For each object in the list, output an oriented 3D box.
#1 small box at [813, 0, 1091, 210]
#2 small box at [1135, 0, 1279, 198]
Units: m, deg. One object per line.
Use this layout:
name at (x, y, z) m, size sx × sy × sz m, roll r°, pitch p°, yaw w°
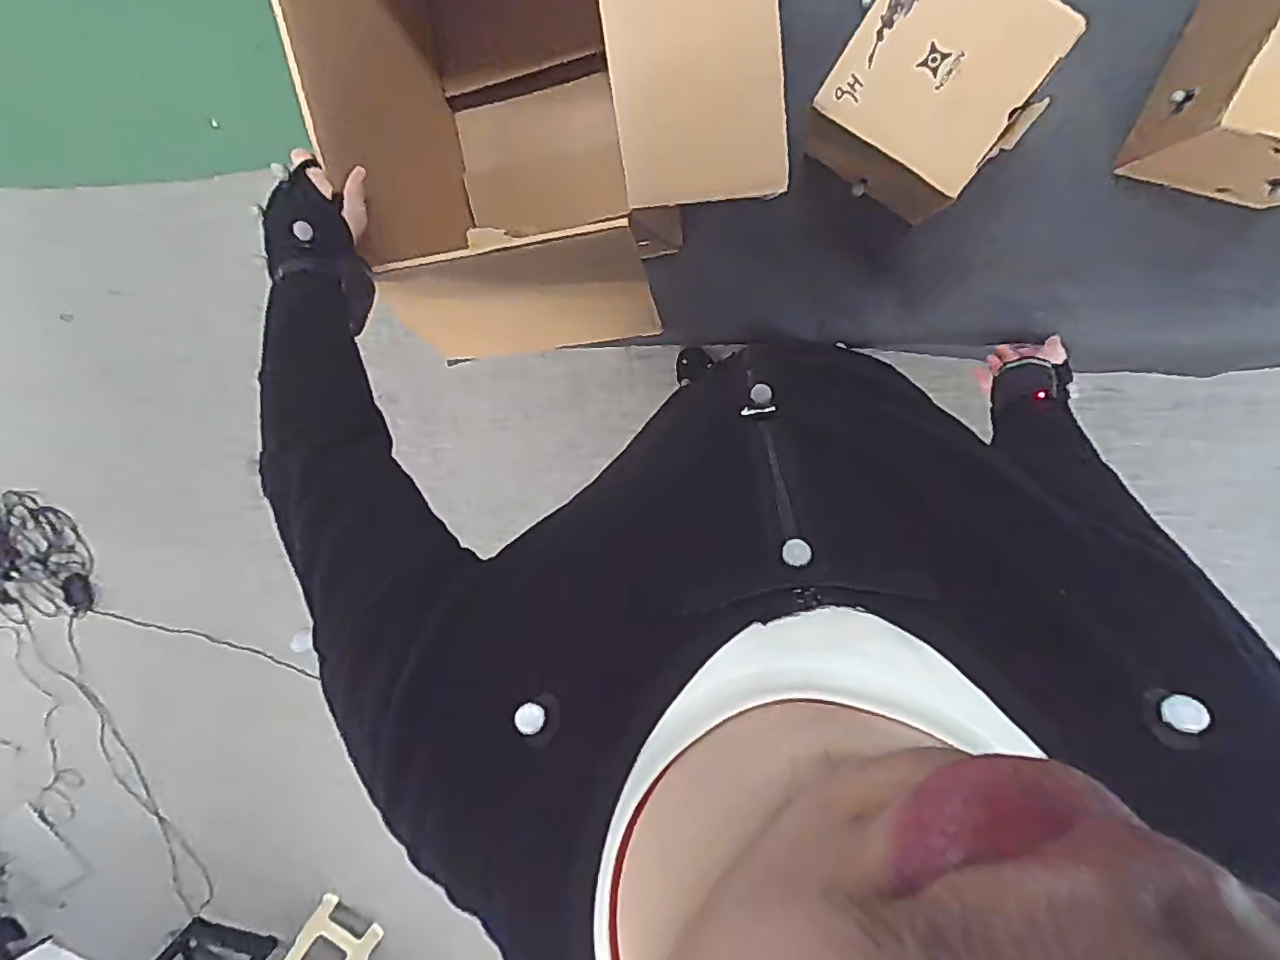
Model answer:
small box at (0.311, -0.419, 0.587) m, size 0.179 × 0.176 × 0.168 m, roll 36°, pitch 111°, yaw 1°
small box at (0.633, -0.389, 0.510) m, size 0.168 × 0.176 × 0.179 m, roll 20°, pitch 110°, yaw 7°
